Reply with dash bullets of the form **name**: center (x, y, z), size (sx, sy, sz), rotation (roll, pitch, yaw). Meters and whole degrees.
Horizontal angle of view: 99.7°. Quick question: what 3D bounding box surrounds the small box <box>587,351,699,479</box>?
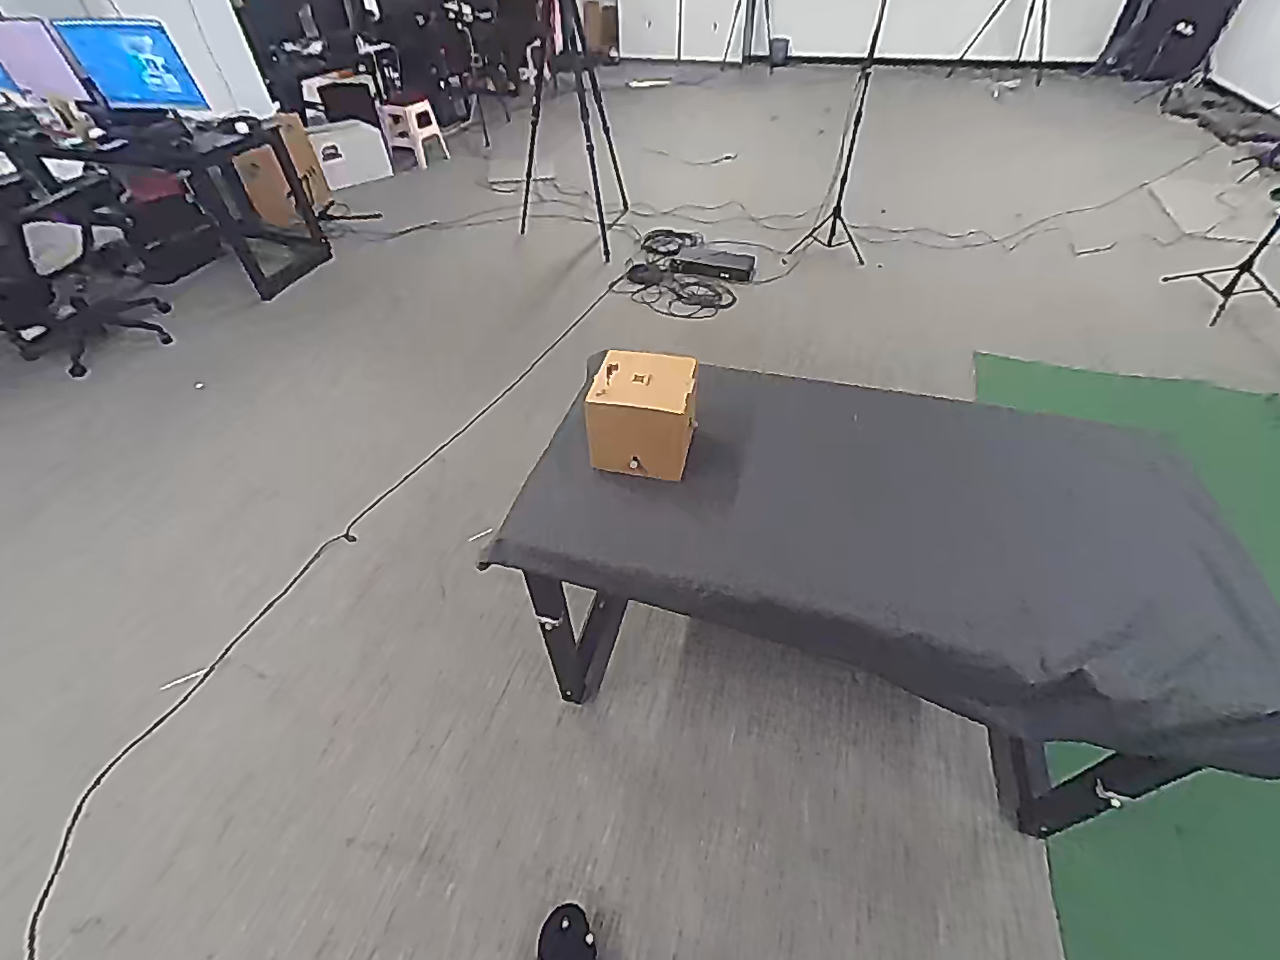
- **small box**: center (0.010, -0.122, 1.037), size (0.179, 0.176, 0.168), rotation (10, 47, 9)
